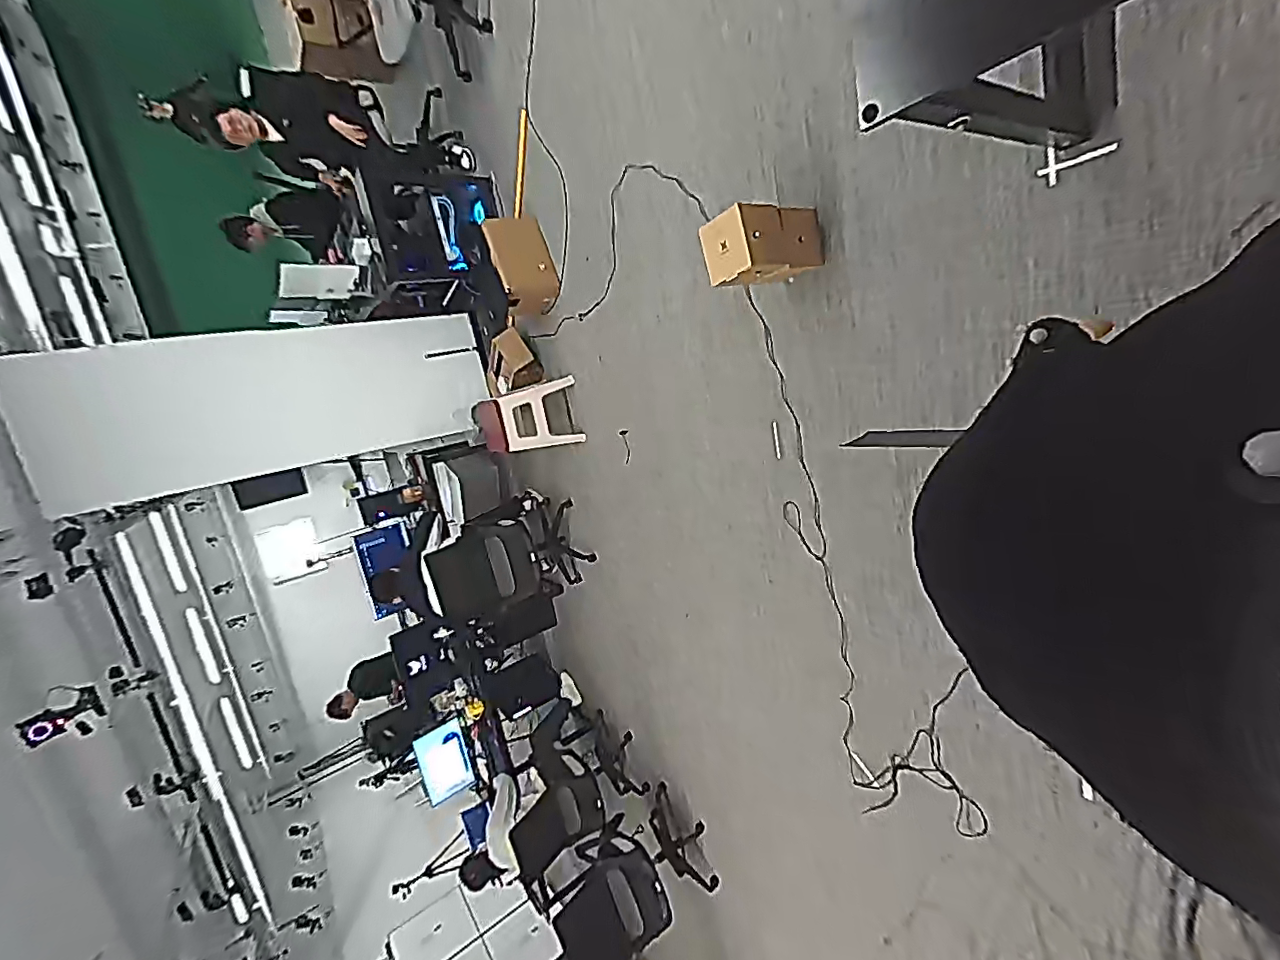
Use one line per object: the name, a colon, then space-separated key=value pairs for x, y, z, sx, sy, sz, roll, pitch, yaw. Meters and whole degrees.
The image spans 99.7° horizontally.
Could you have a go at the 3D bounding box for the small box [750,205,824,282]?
small box: x=0.440 y=-0.723 z=1.661 sx=0.168 sy=0.176 sz=0.179 roll=0 pitch=105 yaw=56

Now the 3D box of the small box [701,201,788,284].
small box: x=0.308 y=-0.687 z=1.573 sx=0.168 sy=0.176 sz=0.179 roll=-6 pitch=98 yaw=55
